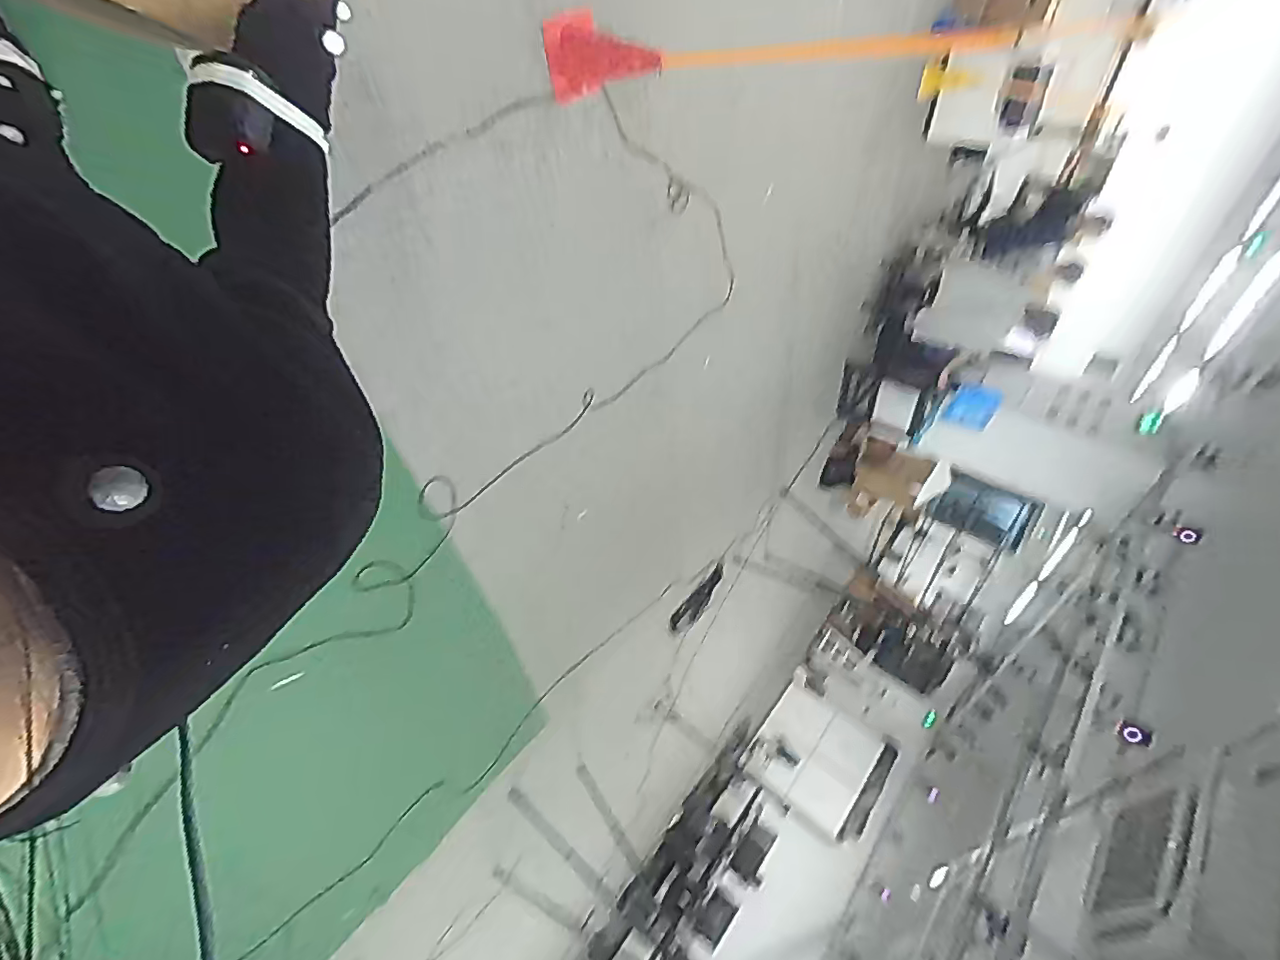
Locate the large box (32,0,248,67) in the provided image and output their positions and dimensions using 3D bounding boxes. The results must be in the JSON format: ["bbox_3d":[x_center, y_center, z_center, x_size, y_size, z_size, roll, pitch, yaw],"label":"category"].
[{"bbox_3d":[-0.507,-0.521,0.307,0.408,0.320,0.320,-11,125,-56],"label":"large box"}]
